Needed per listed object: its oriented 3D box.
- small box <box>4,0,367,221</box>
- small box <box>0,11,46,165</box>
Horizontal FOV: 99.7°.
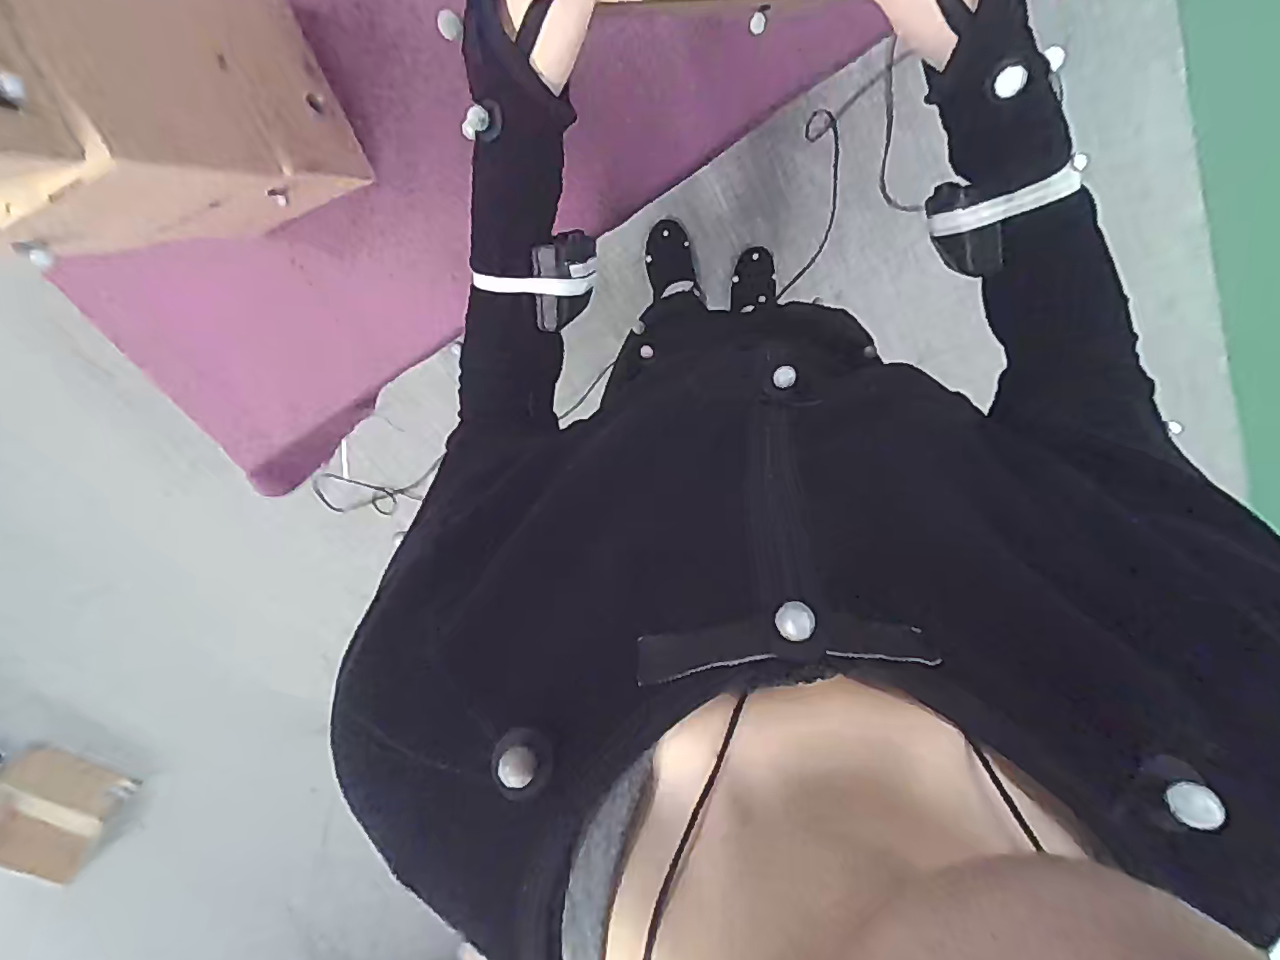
[{"bbox_3d":[-0.414,-0.369,0.529,0.179,0.176,0.168,-19,115,10],"label":"small box"},{"bbox_3d":[-0.438,-0.228,0.232,0.179,0.176,0.168,-12,115,7],"label":"small box"}]
